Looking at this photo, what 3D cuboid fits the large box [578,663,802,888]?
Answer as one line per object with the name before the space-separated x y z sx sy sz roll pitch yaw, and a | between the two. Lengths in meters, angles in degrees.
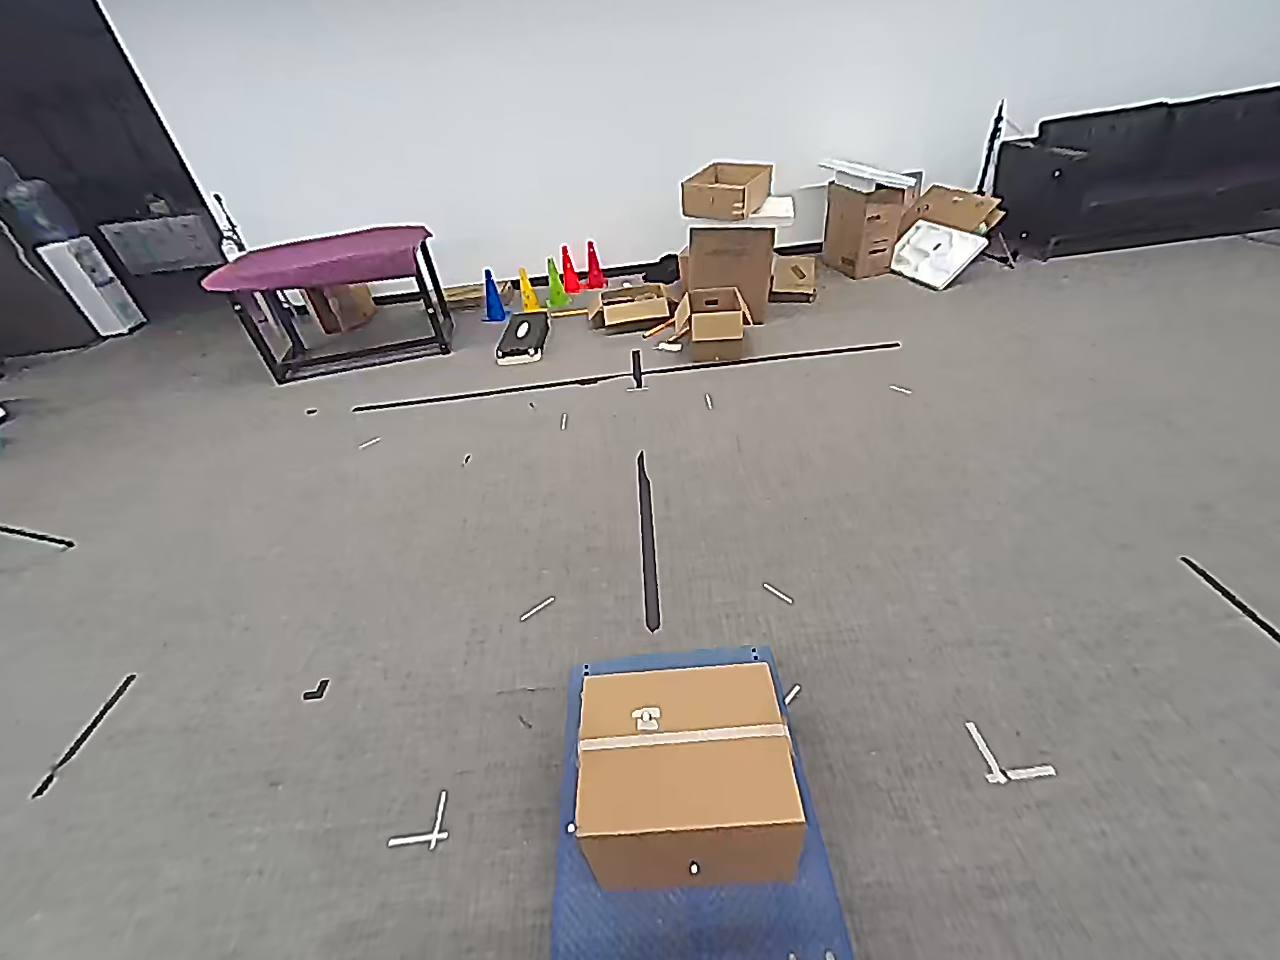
large box | 0.100 0.633 1.158 0.408 0.320 0.320 -7 37 3
